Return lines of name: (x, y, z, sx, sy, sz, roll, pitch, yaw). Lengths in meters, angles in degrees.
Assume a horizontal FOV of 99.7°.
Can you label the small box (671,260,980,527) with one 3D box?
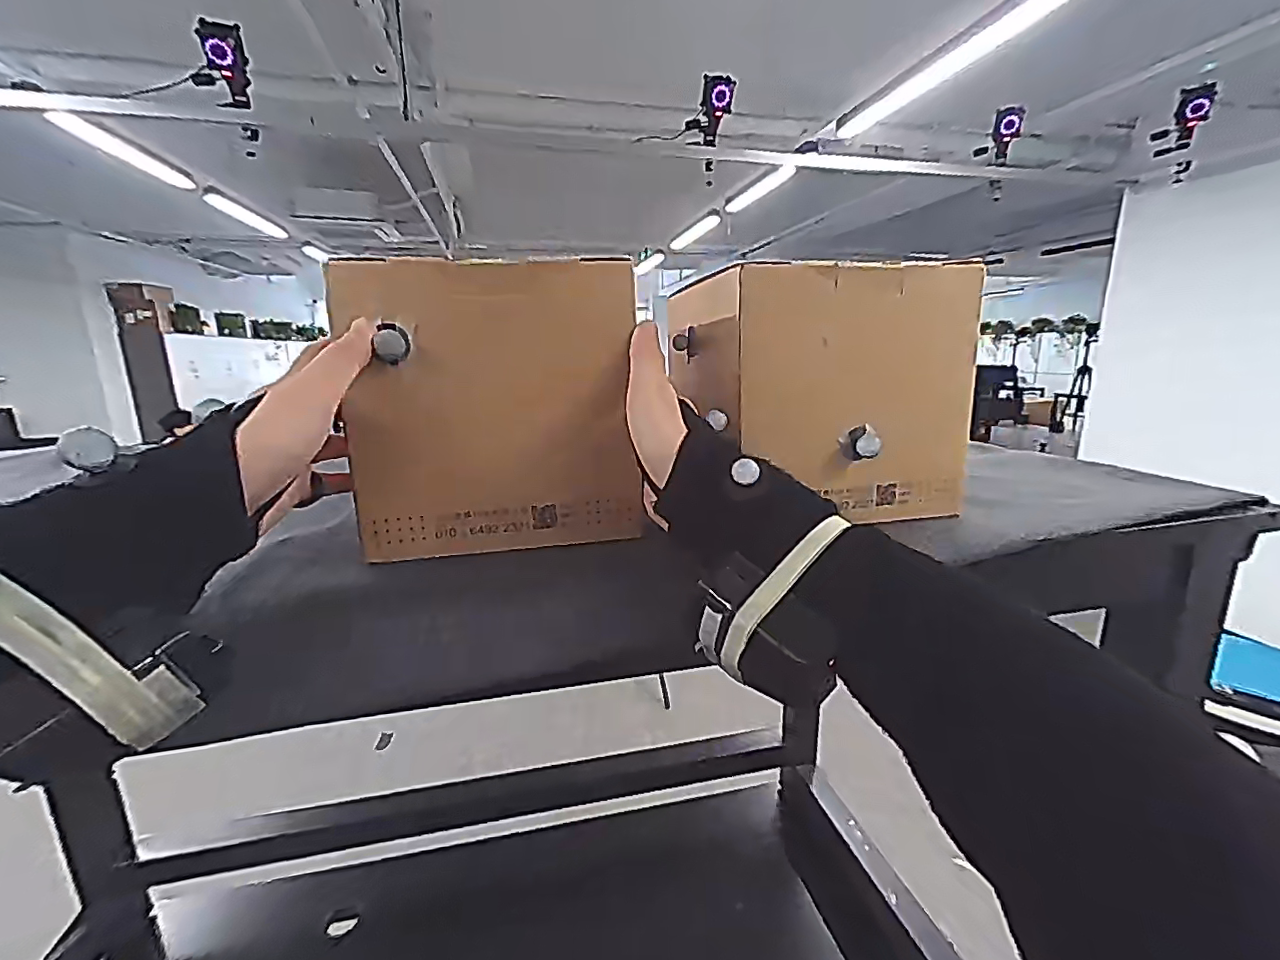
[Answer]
small box: (0.123, -0.068, 0.425, 0.168, 0.176, 0.179, -5, 13, -11)
